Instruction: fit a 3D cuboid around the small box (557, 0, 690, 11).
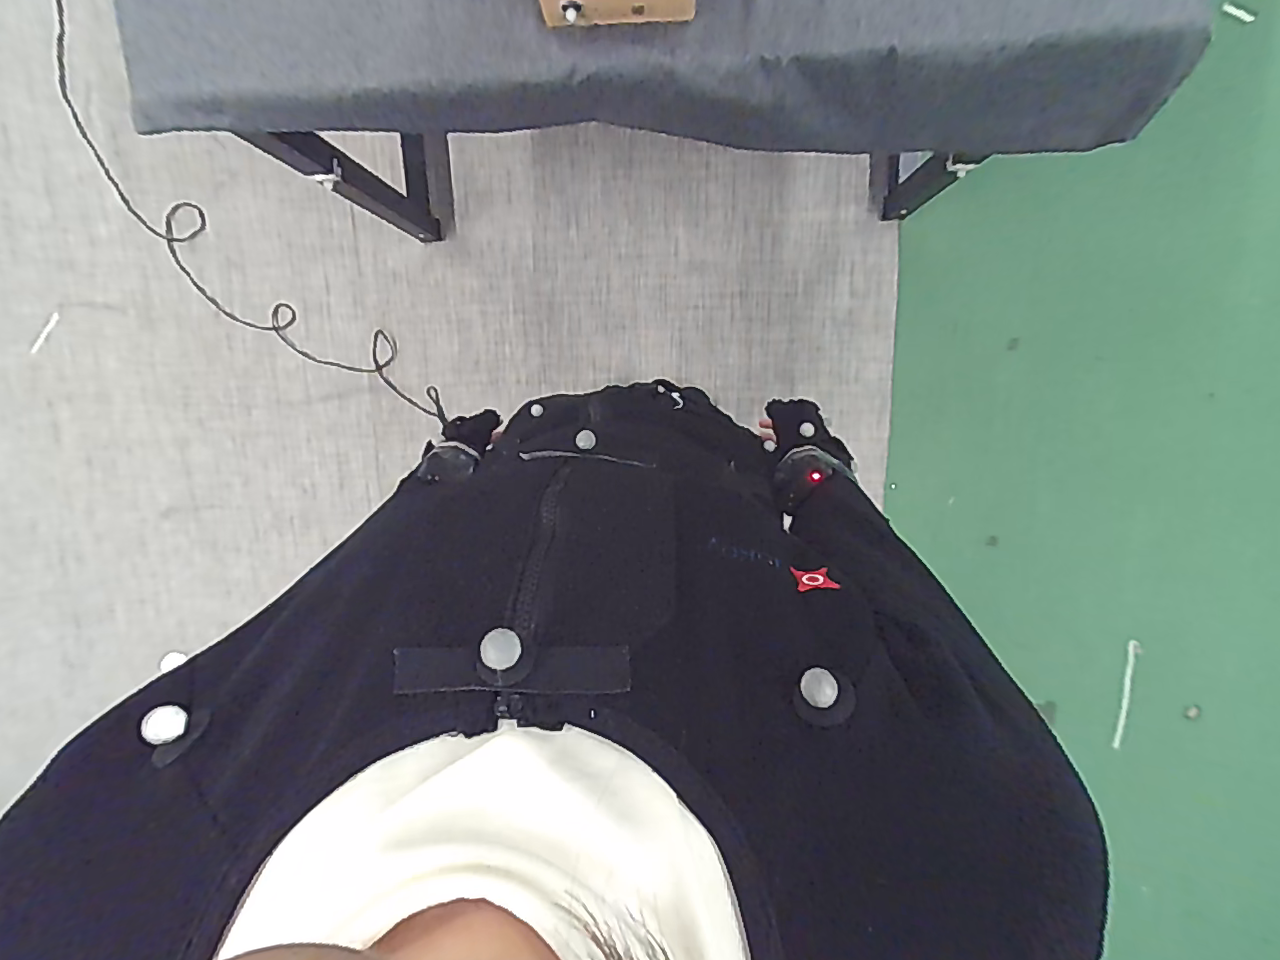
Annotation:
[{"bbox_3d":[-0.026,-0.596,0.518,0.168,0.176,0.179,0,98,3],"label":"small box"}]
